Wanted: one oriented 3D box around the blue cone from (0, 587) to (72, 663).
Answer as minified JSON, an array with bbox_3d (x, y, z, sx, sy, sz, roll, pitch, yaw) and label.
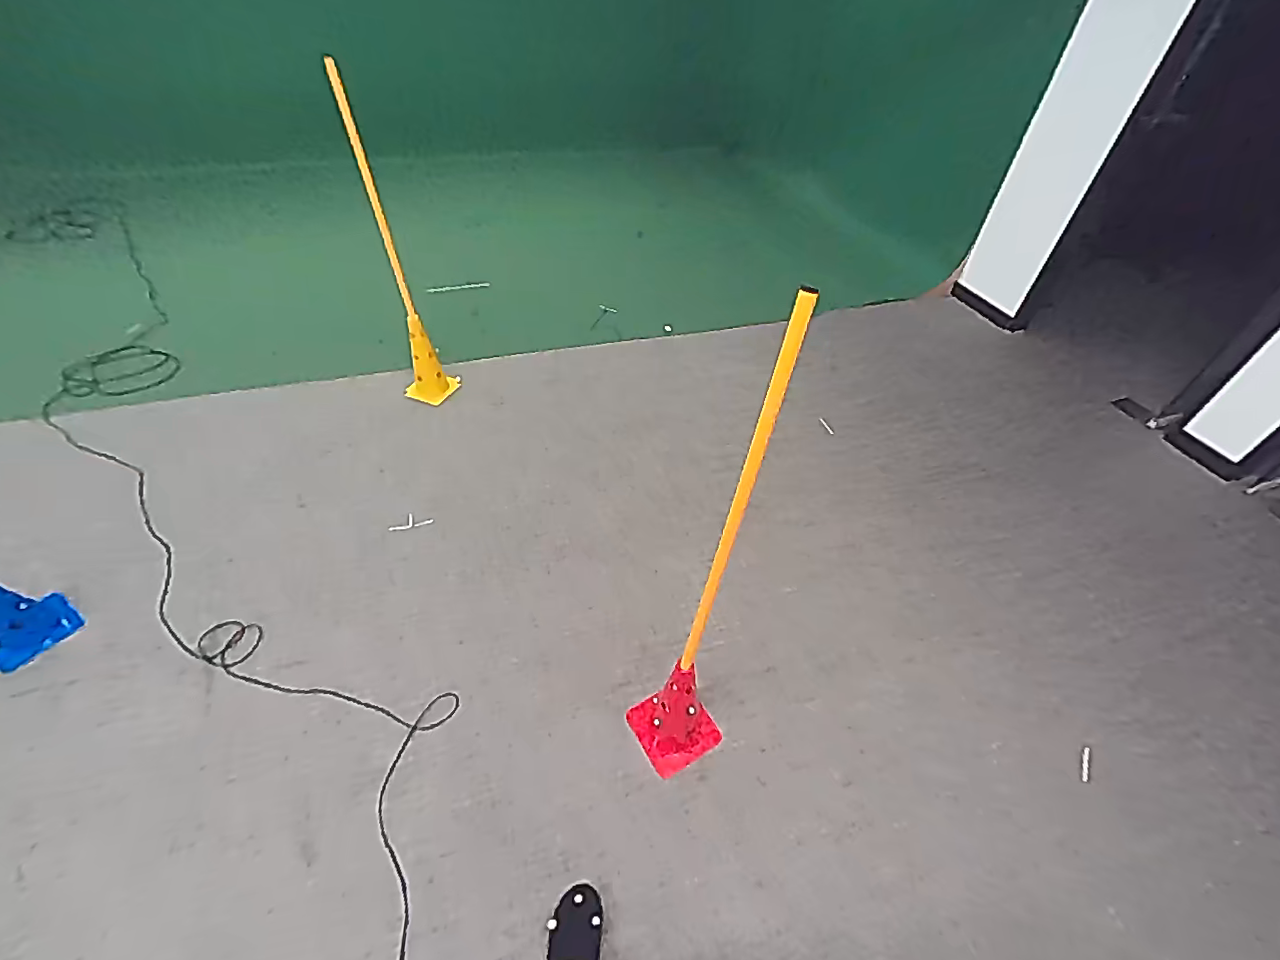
[{"bbox_3d":[-1.768,0.307,1.436,0.192,0.380,0.193,26,52,20],"label":"blue cone"}]
